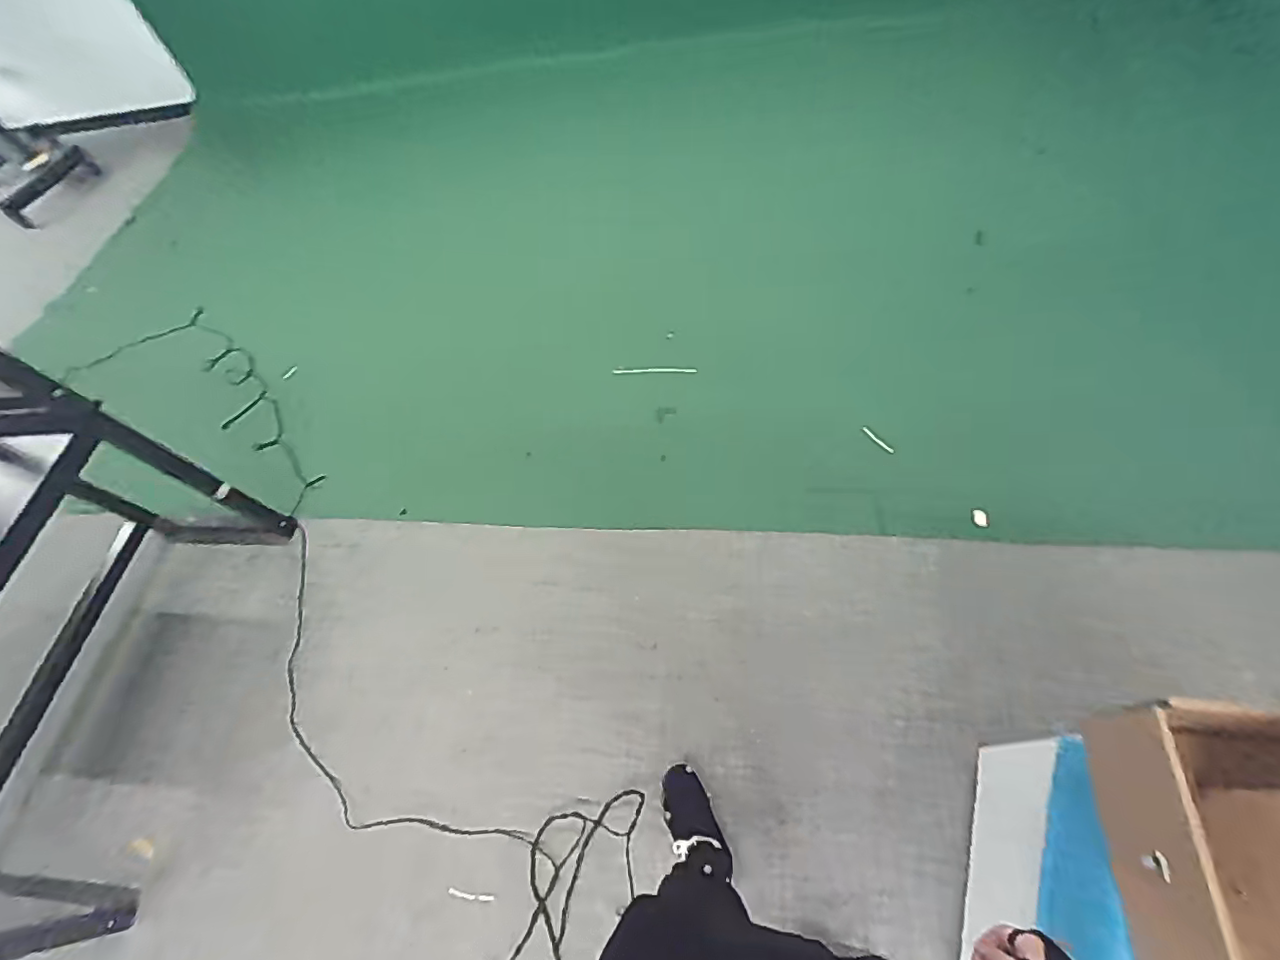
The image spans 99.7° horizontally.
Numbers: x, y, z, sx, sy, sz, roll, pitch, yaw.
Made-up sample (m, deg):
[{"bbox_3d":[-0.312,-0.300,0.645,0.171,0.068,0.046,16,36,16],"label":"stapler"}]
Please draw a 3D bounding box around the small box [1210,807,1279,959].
[{"bbox_3d":[0.798,0.458,0.579,0.179,0.176,0.168,3,61,10],"label":"small box"}]
